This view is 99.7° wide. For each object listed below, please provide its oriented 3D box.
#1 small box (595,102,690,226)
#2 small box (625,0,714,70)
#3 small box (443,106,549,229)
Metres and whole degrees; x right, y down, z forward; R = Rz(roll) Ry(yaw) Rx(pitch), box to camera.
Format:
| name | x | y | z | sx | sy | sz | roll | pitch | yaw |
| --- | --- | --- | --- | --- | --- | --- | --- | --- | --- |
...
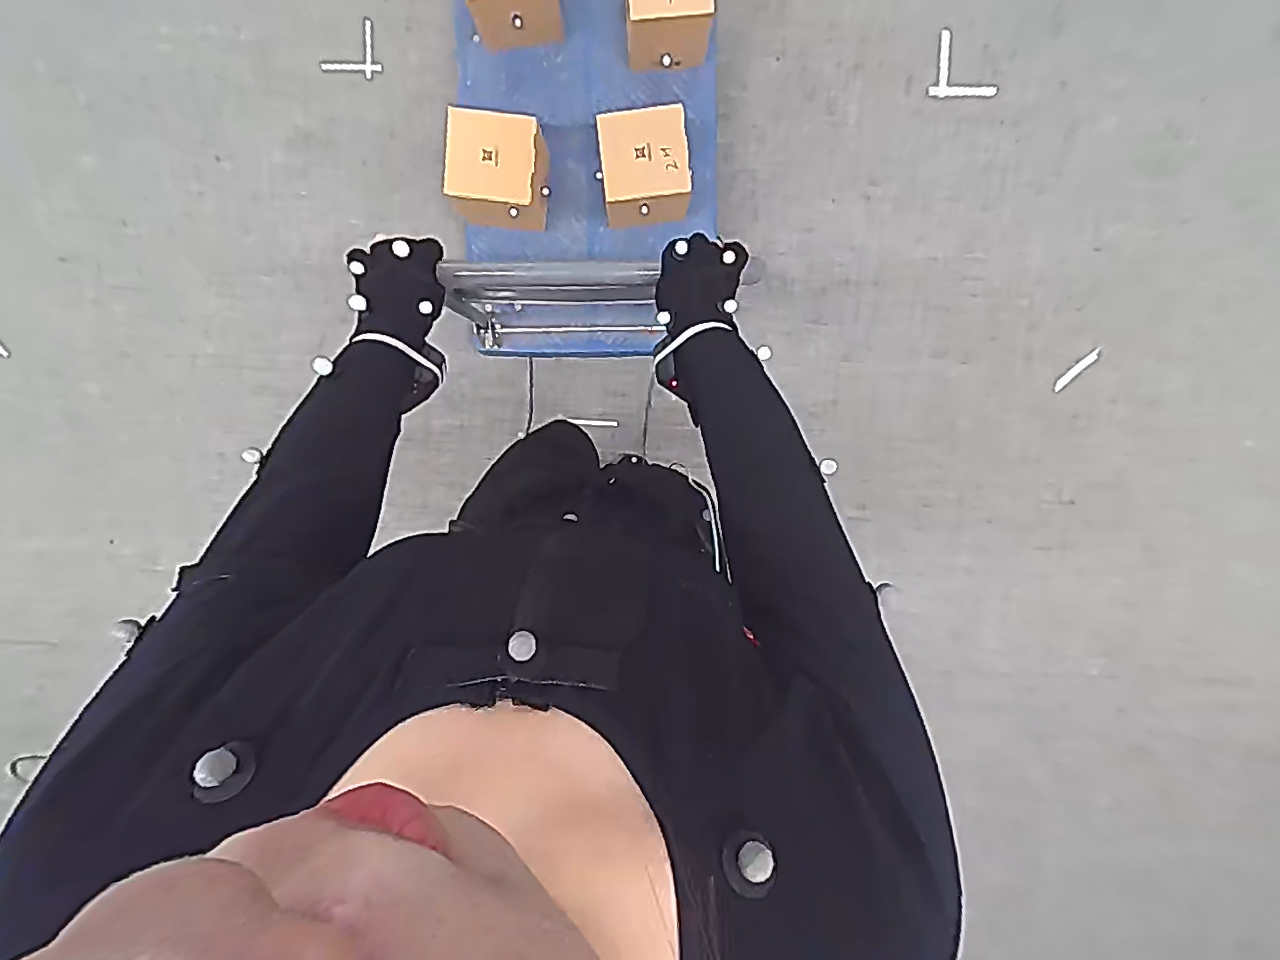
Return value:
| name | x | y | z | sx | sy | sz | roll | pitch | yaw |
| --- | --- | --- | --- | --- | --- | --- | --- | --- | --- |
| small box | 0.008 | -0.653 | 1.140 | 0.179 | 0.176 | 0.168 | -7 | 97 | 1 |
| small box | 0.053 | -0.986 | 1.101 | 0.168 | 0.176 | 0.179 | -5 | 98 | 1 |
| small box | -0.298 | -0.648 | 1.141 | 0.179 | 0.176 | 0.168 | 5 | 96 | -2 |
